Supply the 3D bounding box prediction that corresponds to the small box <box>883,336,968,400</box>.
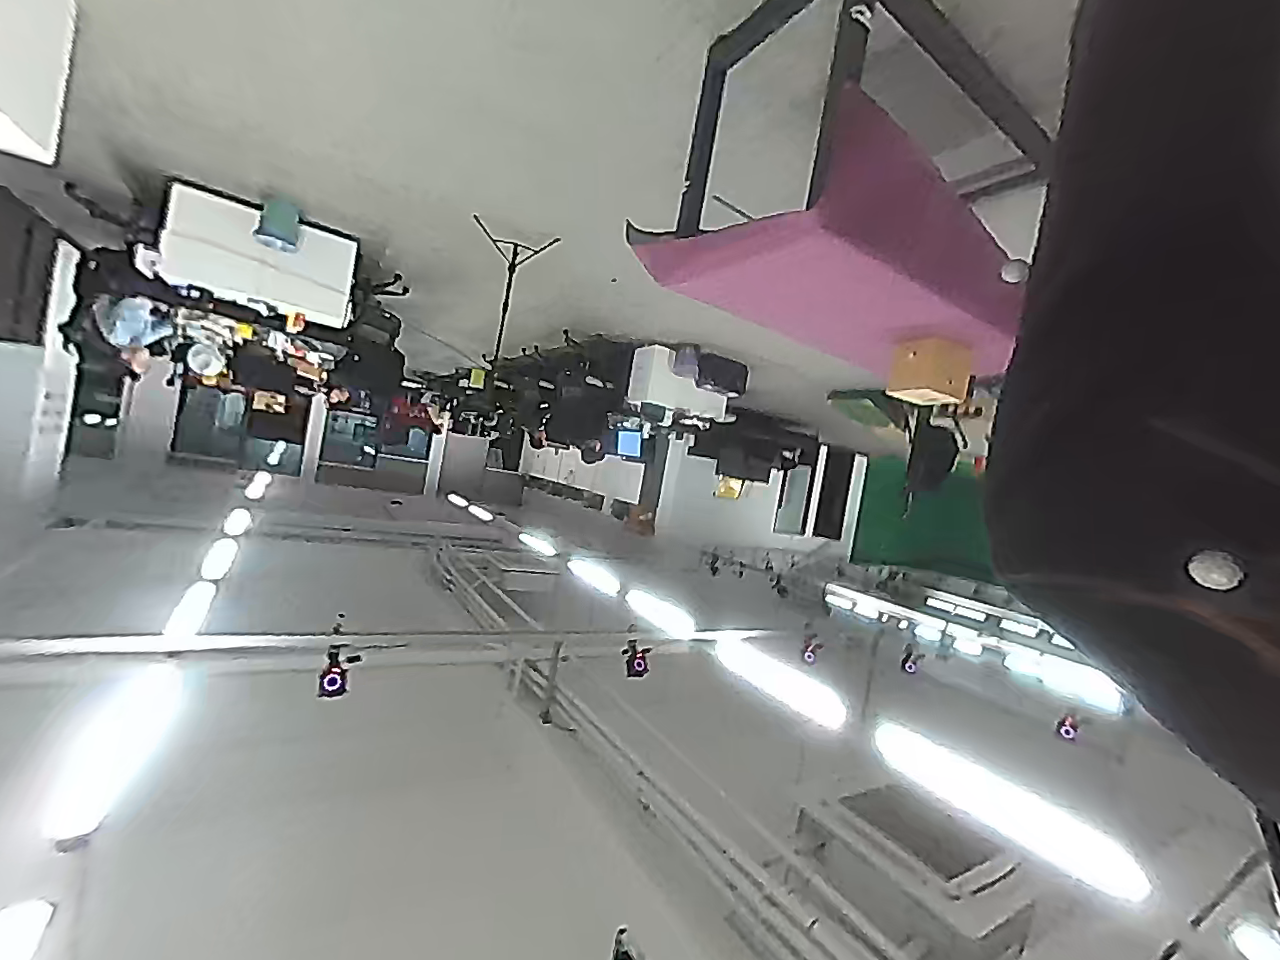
[{"bbox_3d":[0.938,-0.364,1.773,0.179,0.176,0.168,10,180,-23],"label":"small box"}]
